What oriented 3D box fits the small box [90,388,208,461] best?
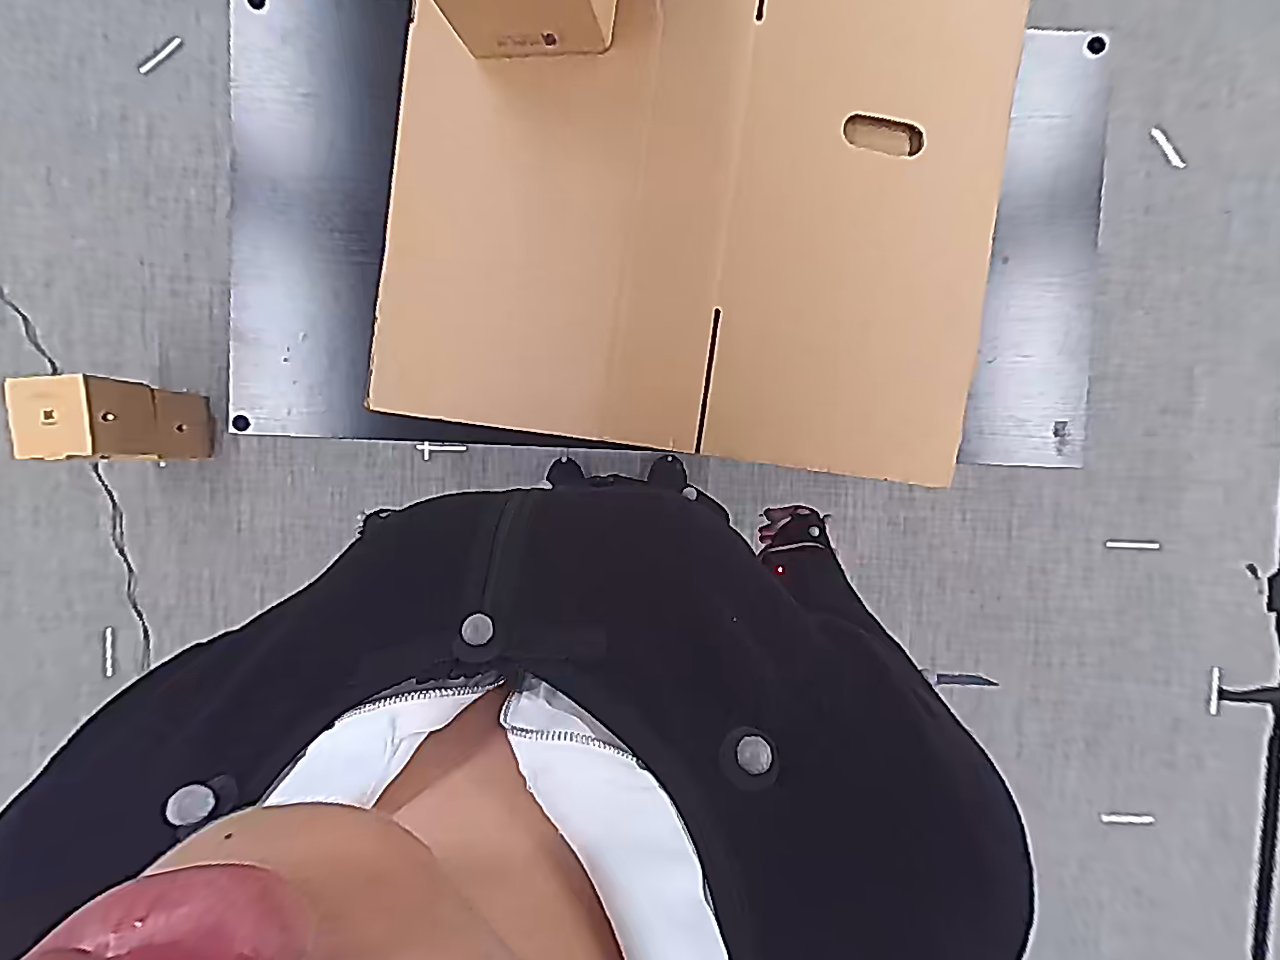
[{"bbox_3d":[-1.254,-0.138,1.384,0.168,0.176,0.179,-2,93,-1],"label":"small box"}]

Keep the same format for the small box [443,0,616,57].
[{"bbox_3d":[-0.115,-0.546,0.506,0.168,0.176,0.179,9,91,14],"label":"small box"}]

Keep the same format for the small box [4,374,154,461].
[{"bbox_3d":[-1.253,-0.136,1.222,0.168,0.176,0.179,-5,92,-2],"label":"small box"}]
